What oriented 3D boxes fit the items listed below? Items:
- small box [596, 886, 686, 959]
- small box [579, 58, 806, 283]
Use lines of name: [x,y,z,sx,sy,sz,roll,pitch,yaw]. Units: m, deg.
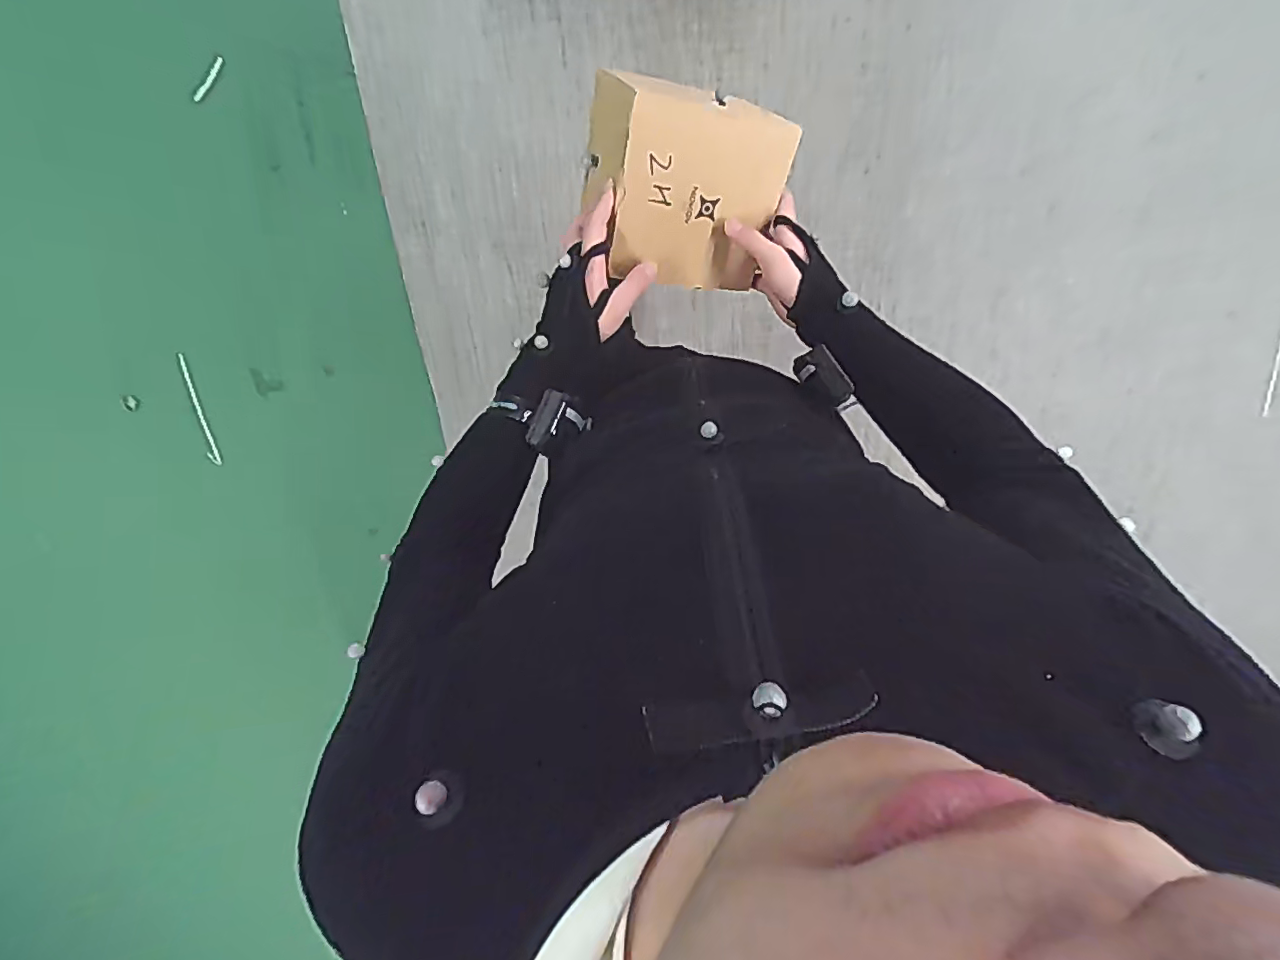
small box: [0.006,1.025,1.166,0.179,0.176,0.168,-12,109,1]
small box: [0.041,-0.337,0.592,0.179,0.176,0.168,0,133,-18]
